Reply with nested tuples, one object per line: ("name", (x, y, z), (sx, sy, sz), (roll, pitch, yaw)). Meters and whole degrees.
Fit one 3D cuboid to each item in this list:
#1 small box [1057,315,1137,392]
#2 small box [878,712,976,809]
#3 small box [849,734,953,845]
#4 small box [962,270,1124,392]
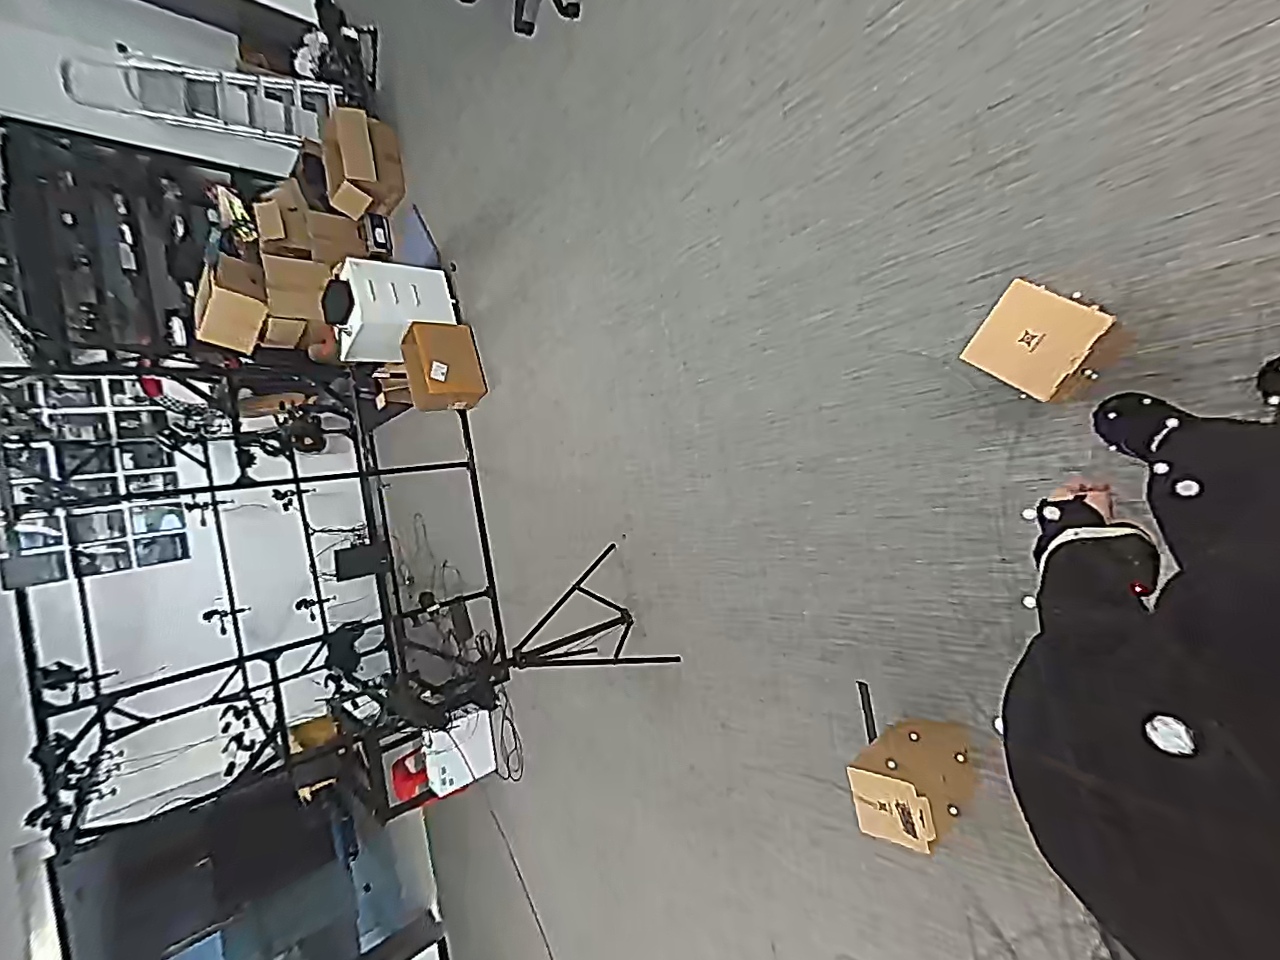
("small box", (0.893, -0.298, 1.146), (0.179, 0.176, 0.168), (46, 128, 33))
("small box", (0.787, 0.751, 1.471), (0.179, 0.176, 0.168), (-16, 84, 50))
("small box", (0.663, 0.766, 1.363), (0.179, 0.176, 0.168), (-15, 86, 49))
("small box", (0.772, -0.280, 1.037), (0.179, 0.176, 0.168), (45, 127, 32))
